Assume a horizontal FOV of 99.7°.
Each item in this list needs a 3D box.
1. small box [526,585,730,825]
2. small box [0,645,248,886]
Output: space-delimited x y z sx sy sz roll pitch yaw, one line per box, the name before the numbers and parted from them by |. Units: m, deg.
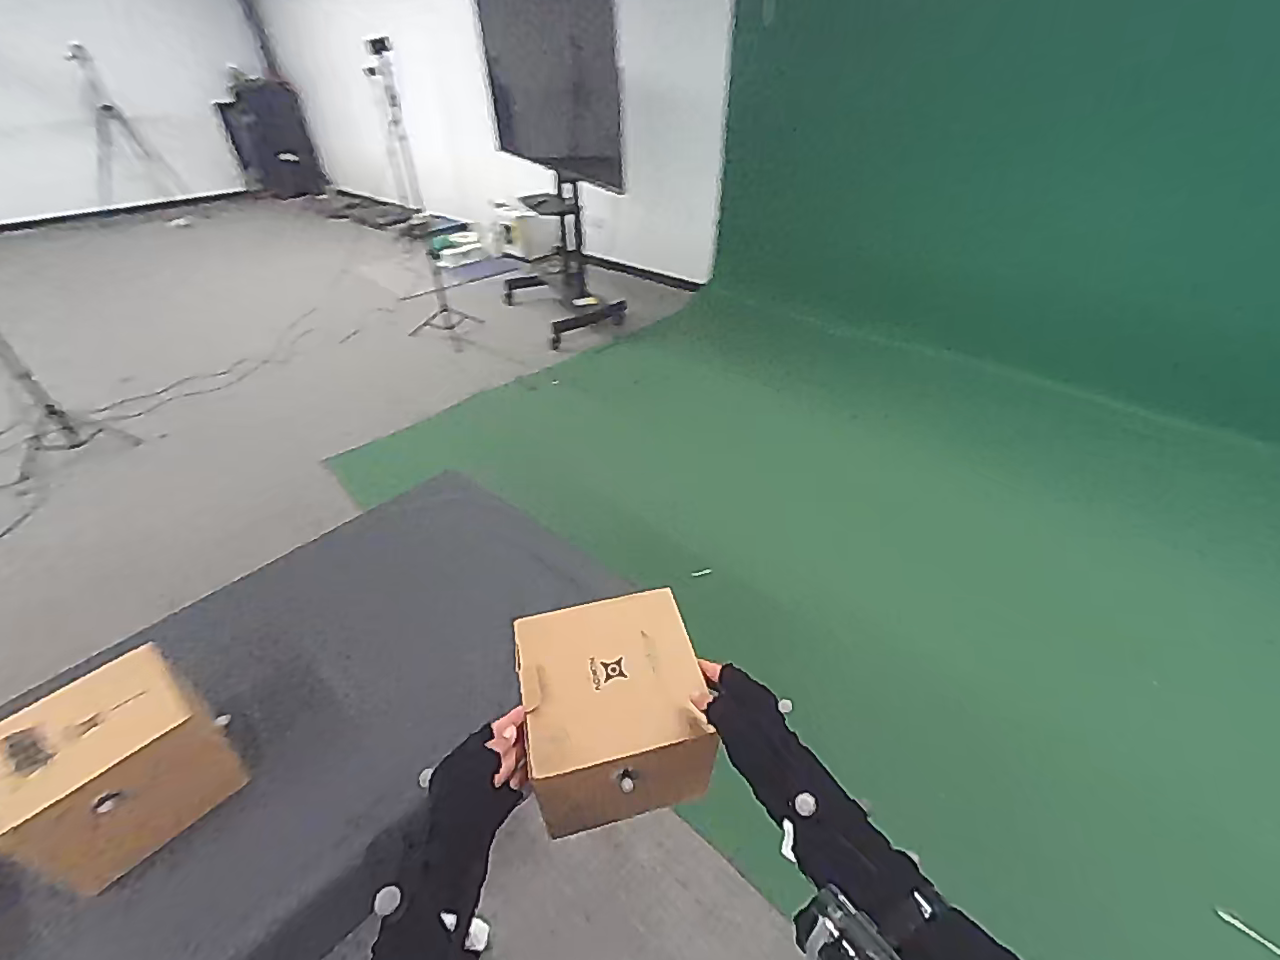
small box | -0.020 0.244 0.588 0.179 0.176 0.168 -8 43 -12
small box | -0.648 0.355 0.680 0.168 0.176 0.179 27 45 31
